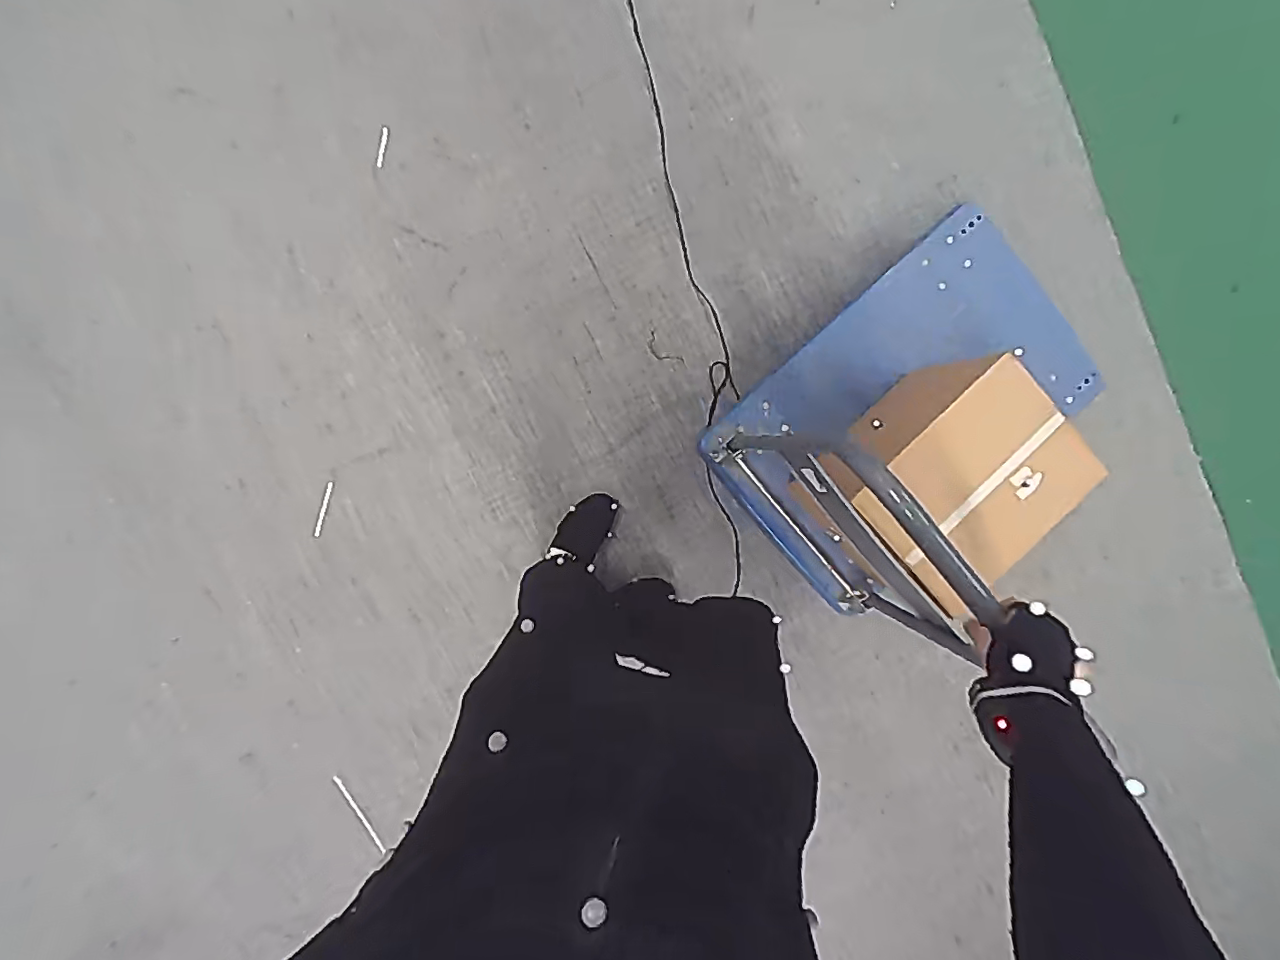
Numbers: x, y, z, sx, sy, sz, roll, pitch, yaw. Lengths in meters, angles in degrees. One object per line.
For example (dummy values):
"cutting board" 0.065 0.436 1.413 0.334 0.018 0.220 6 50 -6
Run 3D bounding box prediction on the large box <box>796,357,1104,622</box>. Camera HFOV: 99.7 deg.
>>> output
"large box" 0.615 0.014 1.139 0.408 0.320 0.320 -43 97 -2
